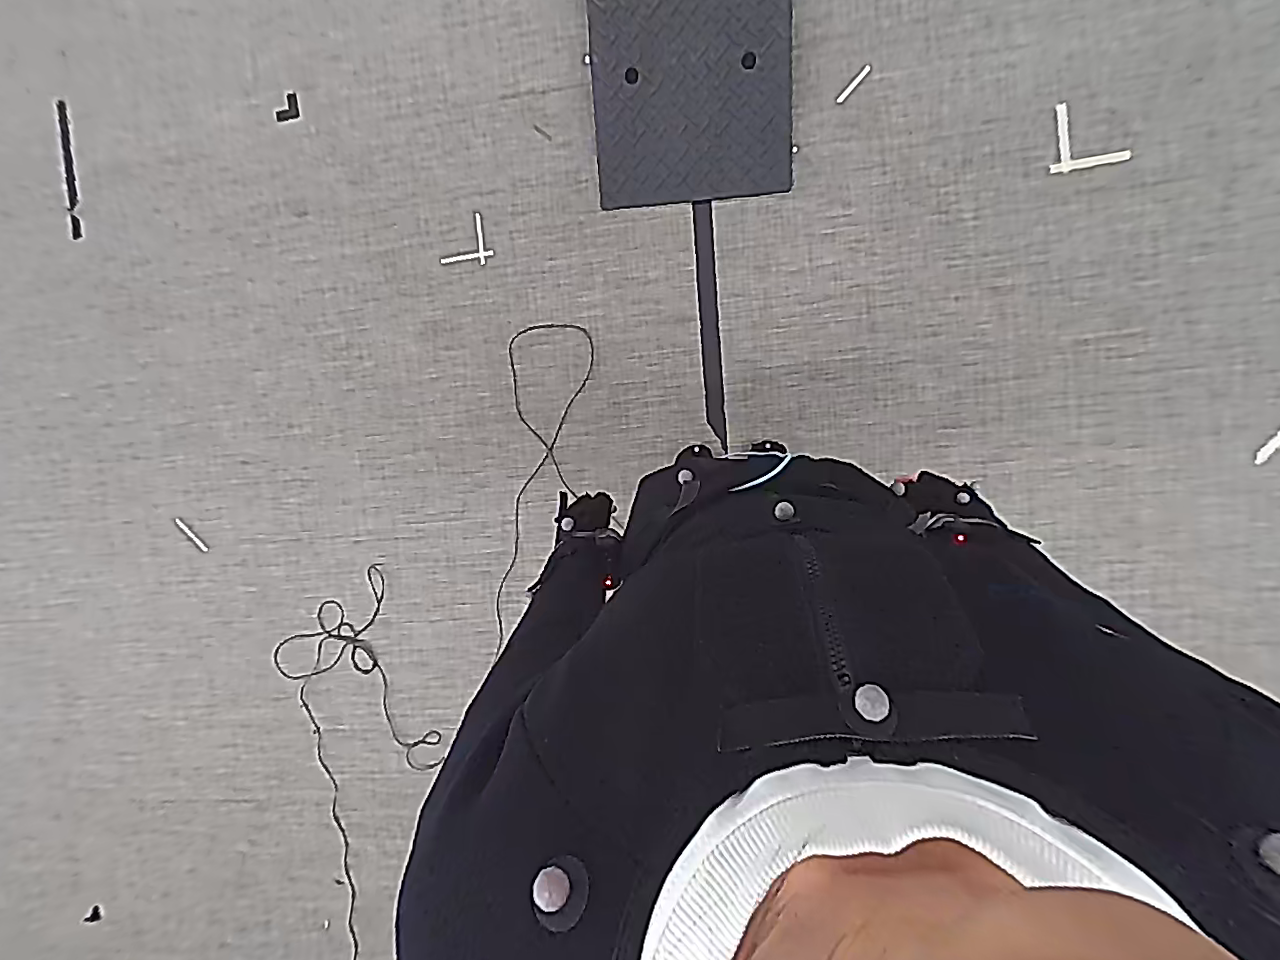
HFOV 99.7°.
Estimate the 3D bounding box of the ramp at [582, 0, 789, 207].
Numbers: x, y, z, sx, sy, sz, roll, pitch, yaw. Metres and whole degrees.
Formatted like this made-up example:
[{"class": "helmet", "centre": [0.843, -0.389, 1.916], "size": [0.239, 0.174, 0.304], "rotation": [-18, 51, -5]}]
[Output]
[{"class": "ramp", "centre": [0.101, -1.209, 1.270], "size": [0.509, 0.206, 0.991], "rotation": [-4, 95, 6]}]
